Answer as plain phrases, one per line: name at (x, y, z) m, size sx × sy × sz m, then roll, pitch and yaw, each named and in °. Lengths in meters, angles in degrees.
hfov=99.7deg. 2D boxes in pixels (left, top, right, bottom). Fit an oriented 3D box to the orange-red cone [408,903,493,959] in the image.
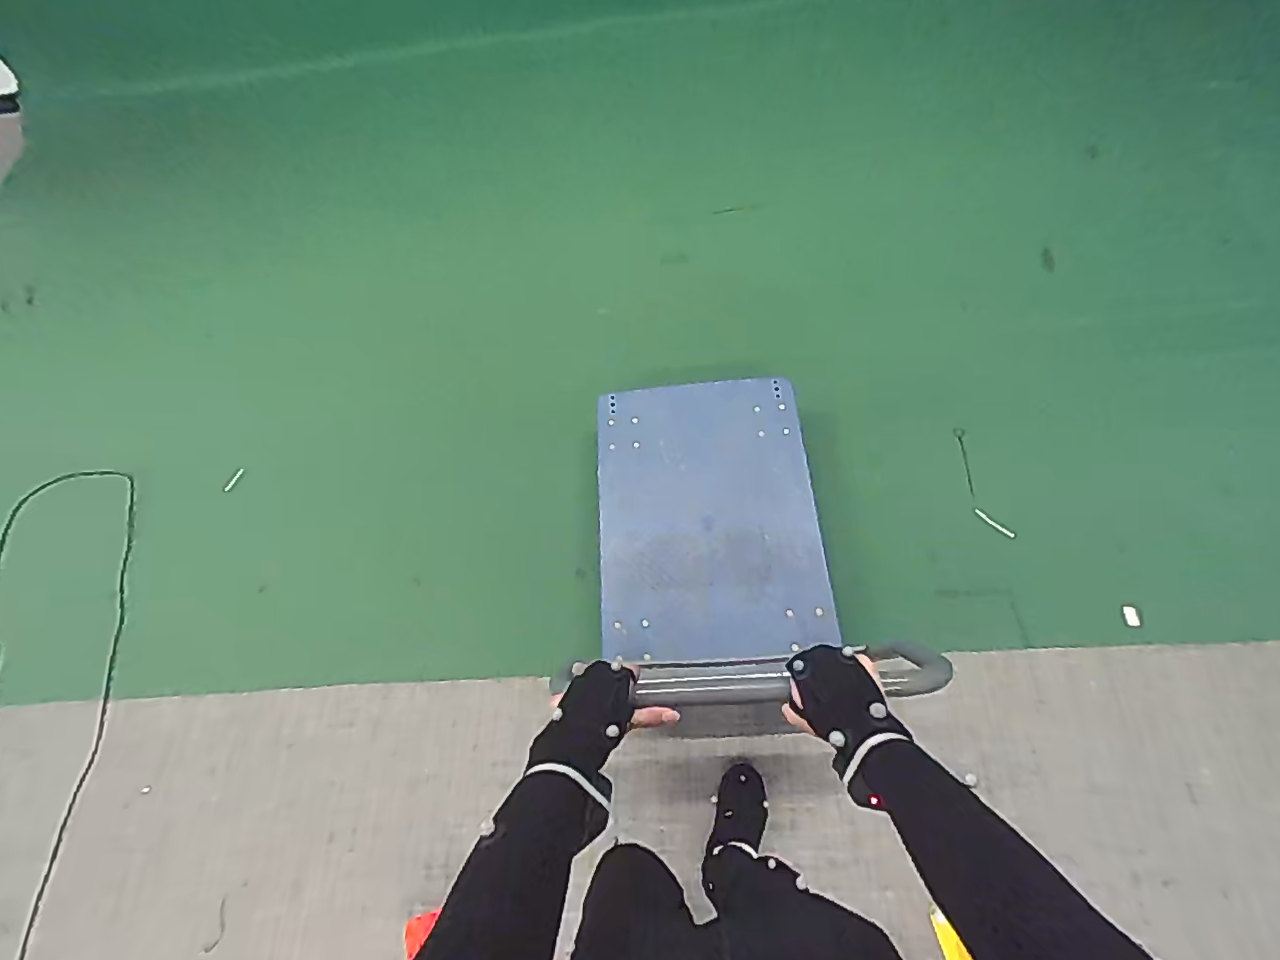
orange-red cone at (-0.446, 1.029, 1.072) m, size 0.199 × 0.360 × 0.198 m, roll -18°, pitch 64°, yaw -1°
